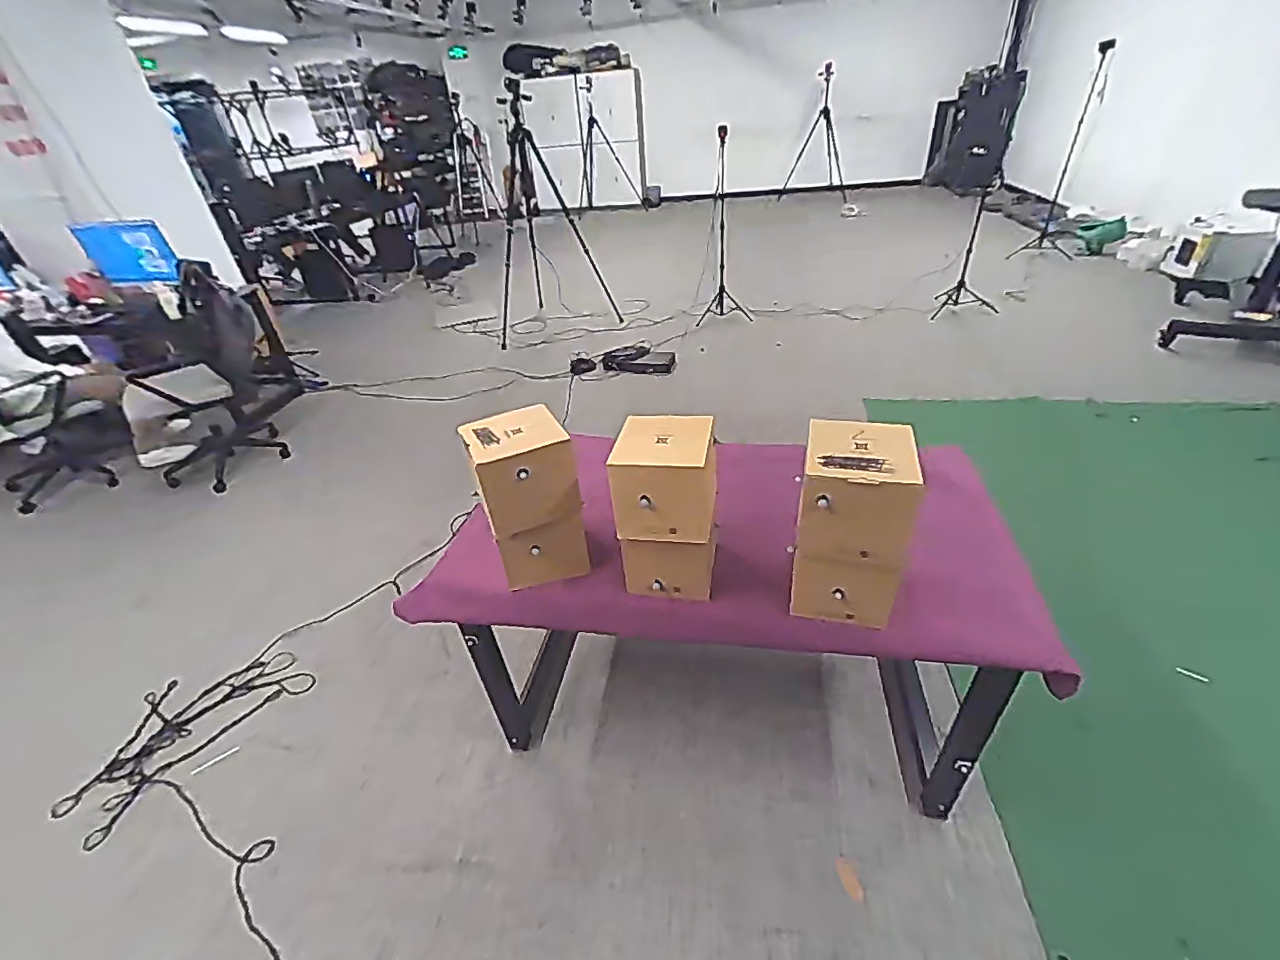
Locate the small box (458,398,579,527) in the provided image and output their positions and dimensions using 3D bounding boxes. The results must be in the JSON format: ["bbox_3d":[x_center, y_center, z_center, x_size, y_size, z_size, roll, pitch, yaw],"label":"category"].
[{"bbox_3d":[-0.231,-0.034,1.045,0.179,0.176,0.168,-18,37,-19],"label":"small box"}]

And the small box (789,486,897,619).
[{"bbox_3d":[0.373,0.134,1.013,0.168,0.176,0.179,6,37,15],"label":"small box"}]

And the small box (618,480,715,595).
[{"bbox_3d":[0.061,0.106,1.097,0.168,0.176,0.179,3,36,13],"label":"small box"}]

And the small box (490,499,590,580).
[{"bbox_3d":[-0.214,0.091,1.153,0.179,0.176,0.168,-12,36,-9],"label":"small box"}]

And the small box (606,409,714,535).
[{"bbox_3d":[0.046,-0.016,0.990,0.168,0.176,0.179,2,35,12],"label":"small box"}]
